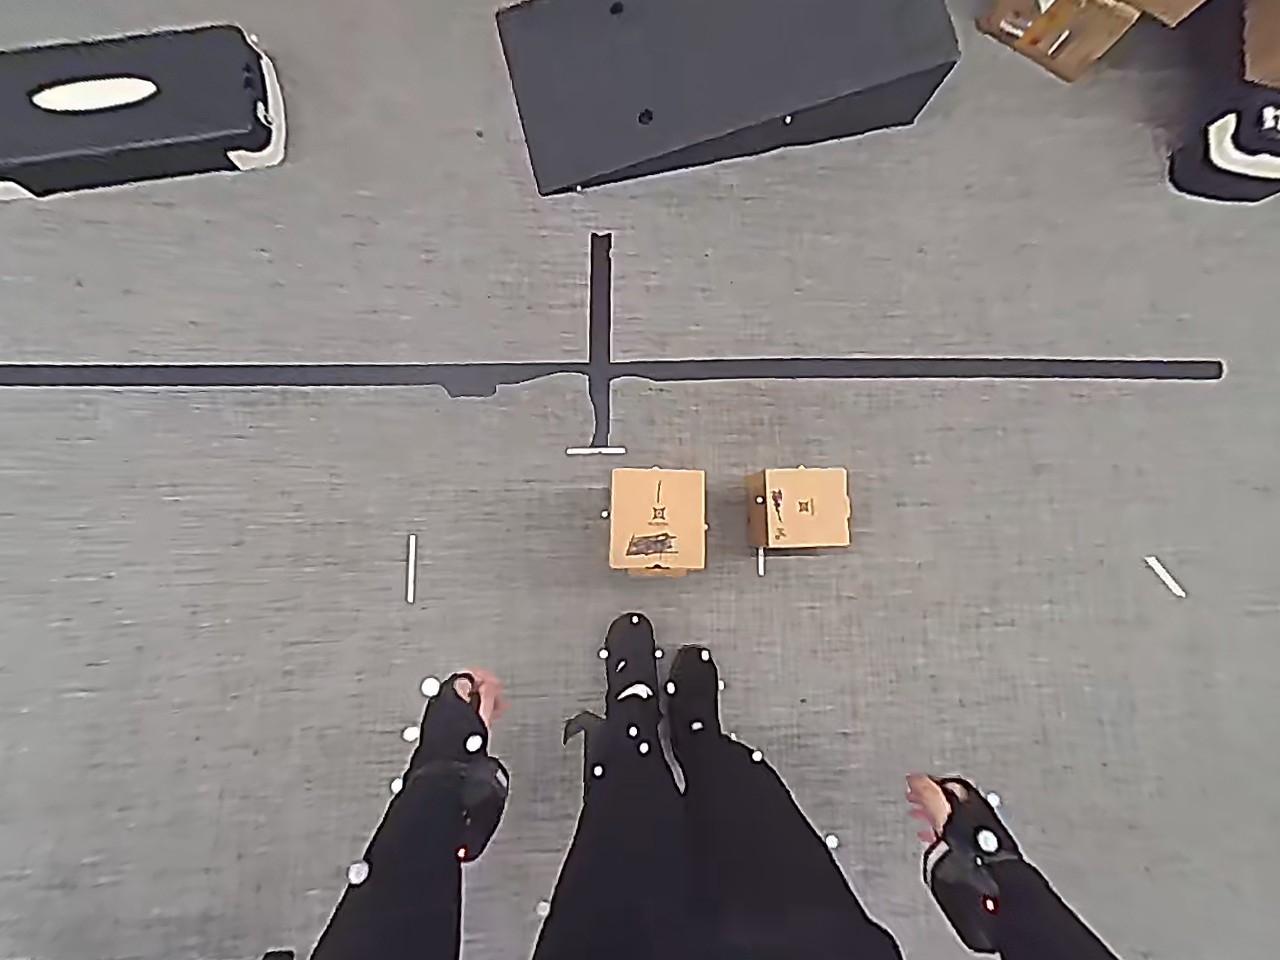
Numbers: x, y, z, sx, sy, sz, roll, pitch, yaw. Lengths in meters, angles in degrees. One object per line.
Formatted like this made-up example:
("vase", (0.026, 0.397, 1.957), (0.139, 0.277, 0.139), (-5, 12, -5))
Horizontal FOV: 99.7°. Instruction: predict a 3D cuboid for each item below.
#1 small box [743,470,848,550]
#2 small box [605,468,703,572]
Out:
("small box", (0.336, 0.067, 1.193), (0.179, 0.176, 0.168), (-1, 84, -5))
("small box", (0.020, 0.077, 1.006), (0.168, 0.176, 0.179), (2, 83, -4))
